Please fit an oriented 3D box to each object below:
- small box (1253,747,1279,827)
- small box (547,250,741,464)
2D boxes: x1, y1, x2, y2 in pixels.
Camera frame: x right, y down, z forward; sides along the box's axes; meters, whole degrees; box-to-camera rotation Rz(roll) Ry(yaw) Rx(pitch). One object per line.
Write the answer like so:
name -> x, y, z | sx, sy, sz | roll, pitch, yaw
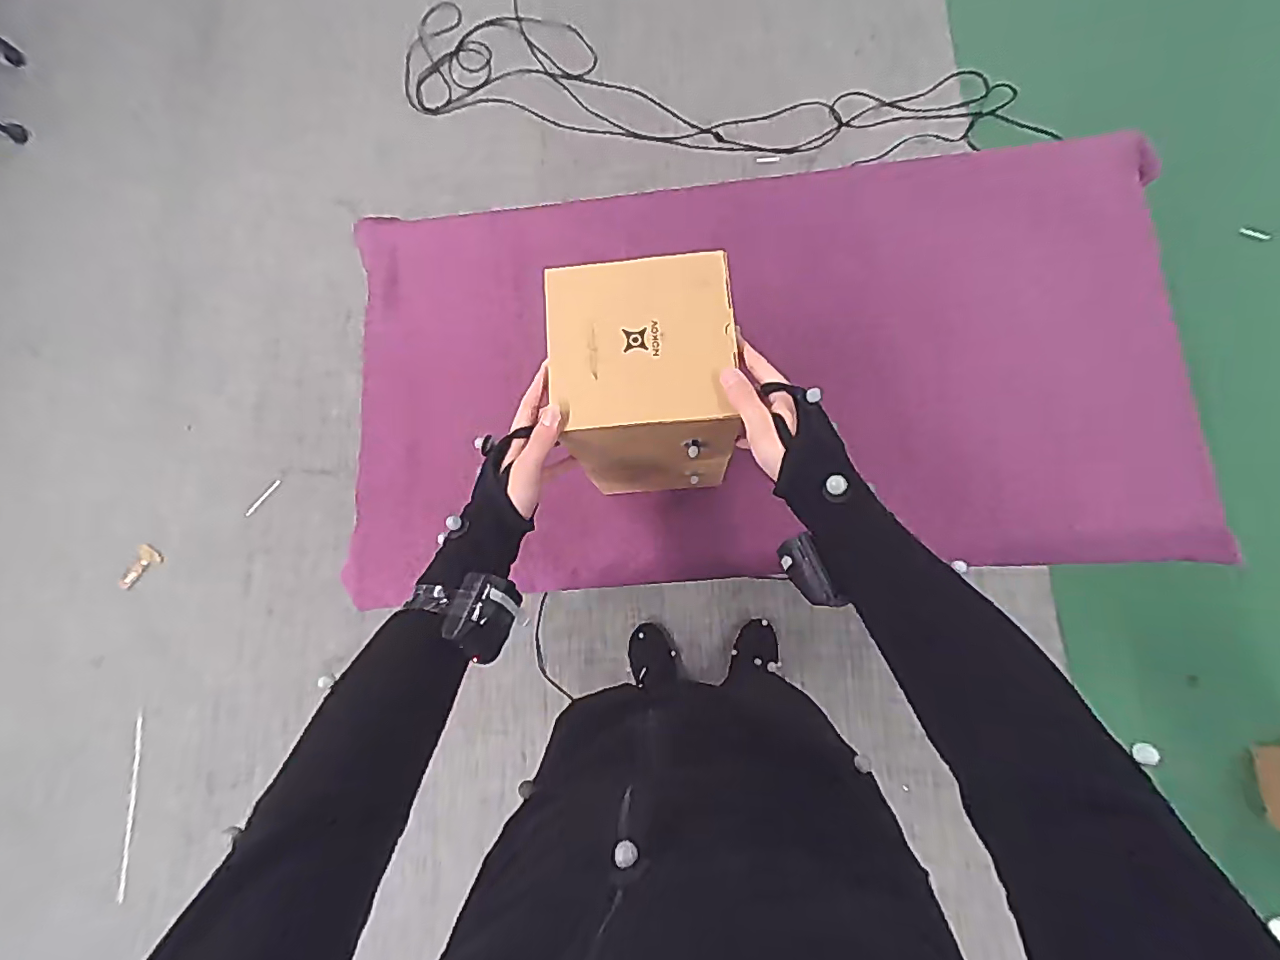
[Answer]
small box -> 1.516, 0.698, 1.172 | 0.168, 0.176, 0.179 | -3, 79, 5
small box -> 0.007, -0.117, 0.576 | 0.179, 0.176, 0.168 | -4, 78, 5
